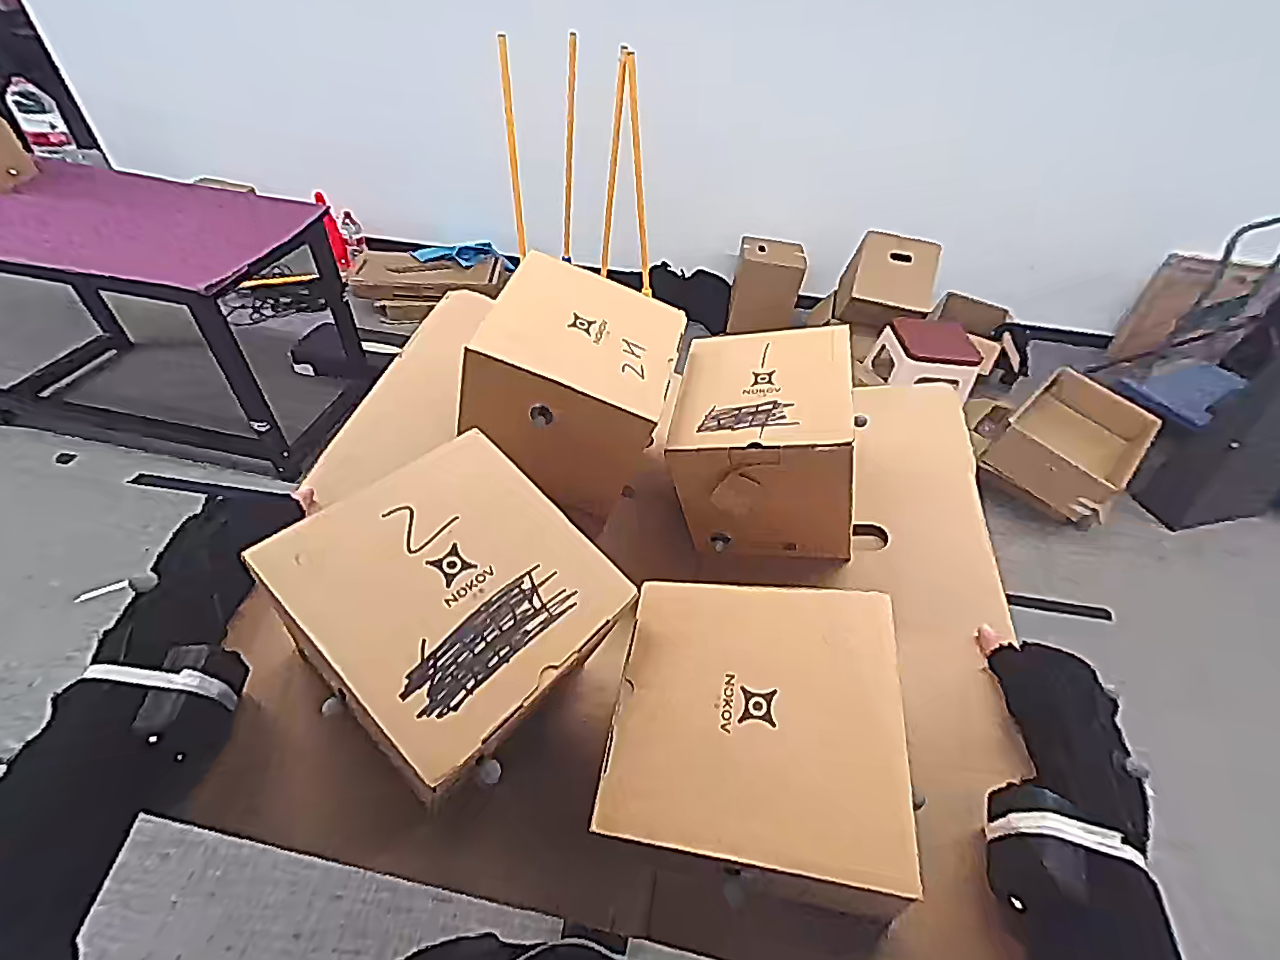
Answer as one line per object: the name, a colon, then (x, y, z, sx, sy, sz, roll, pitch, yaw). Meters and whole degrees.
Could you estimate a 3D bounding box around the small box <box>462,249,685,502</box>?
small box: (-0.074, -0.101, 0.573, 0.179, 0.176, 0.168, 22, 52, -7)
